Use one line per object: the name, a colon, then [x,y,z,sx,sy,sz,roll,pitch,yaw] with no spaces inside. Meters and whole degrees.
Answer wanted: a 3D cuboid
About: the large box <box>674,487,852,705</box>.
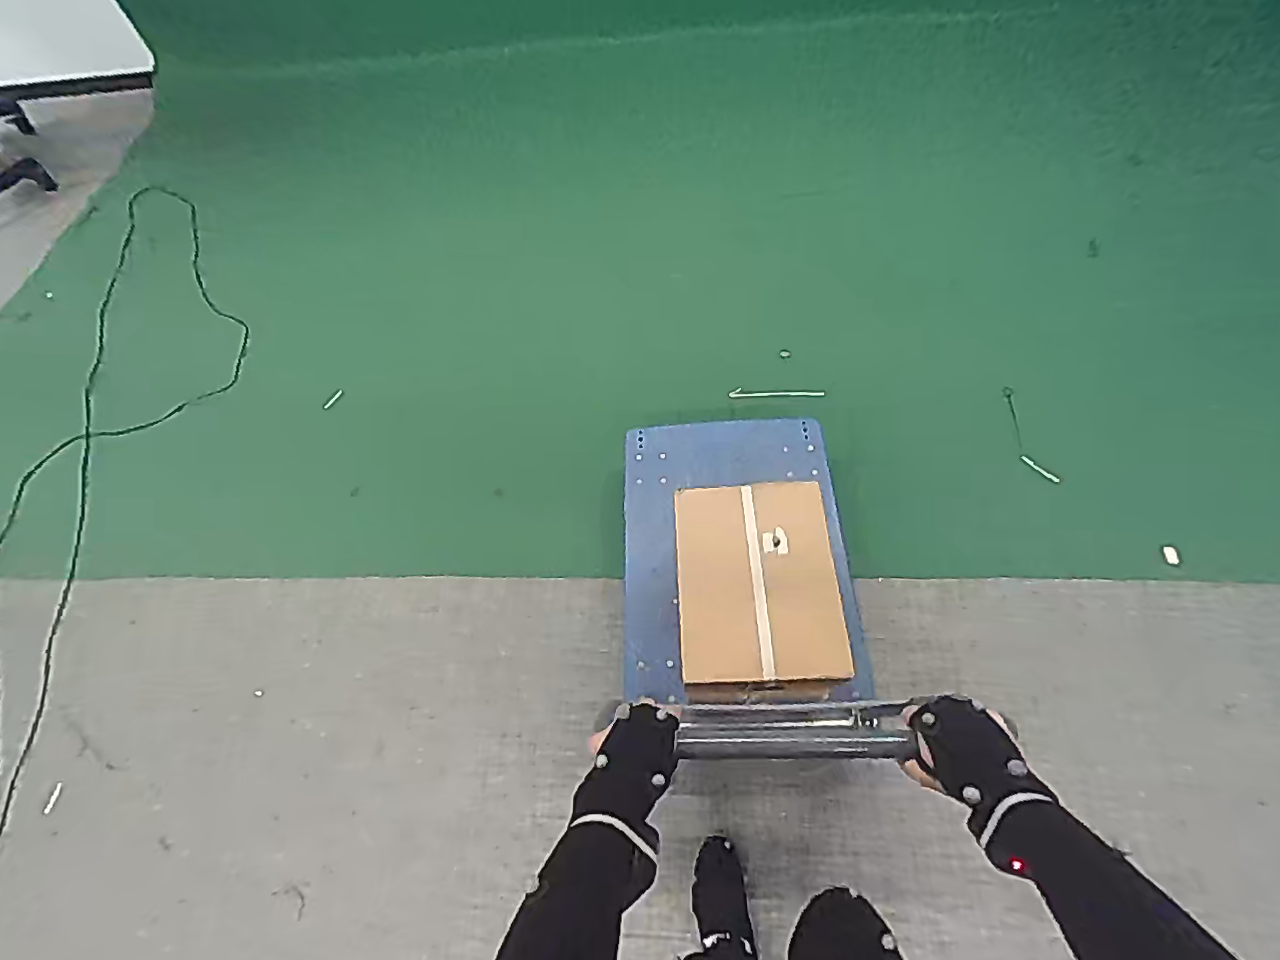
large box: [0.251,0.273,1.224,0.320,0.320,0.408,-4,61,5]
